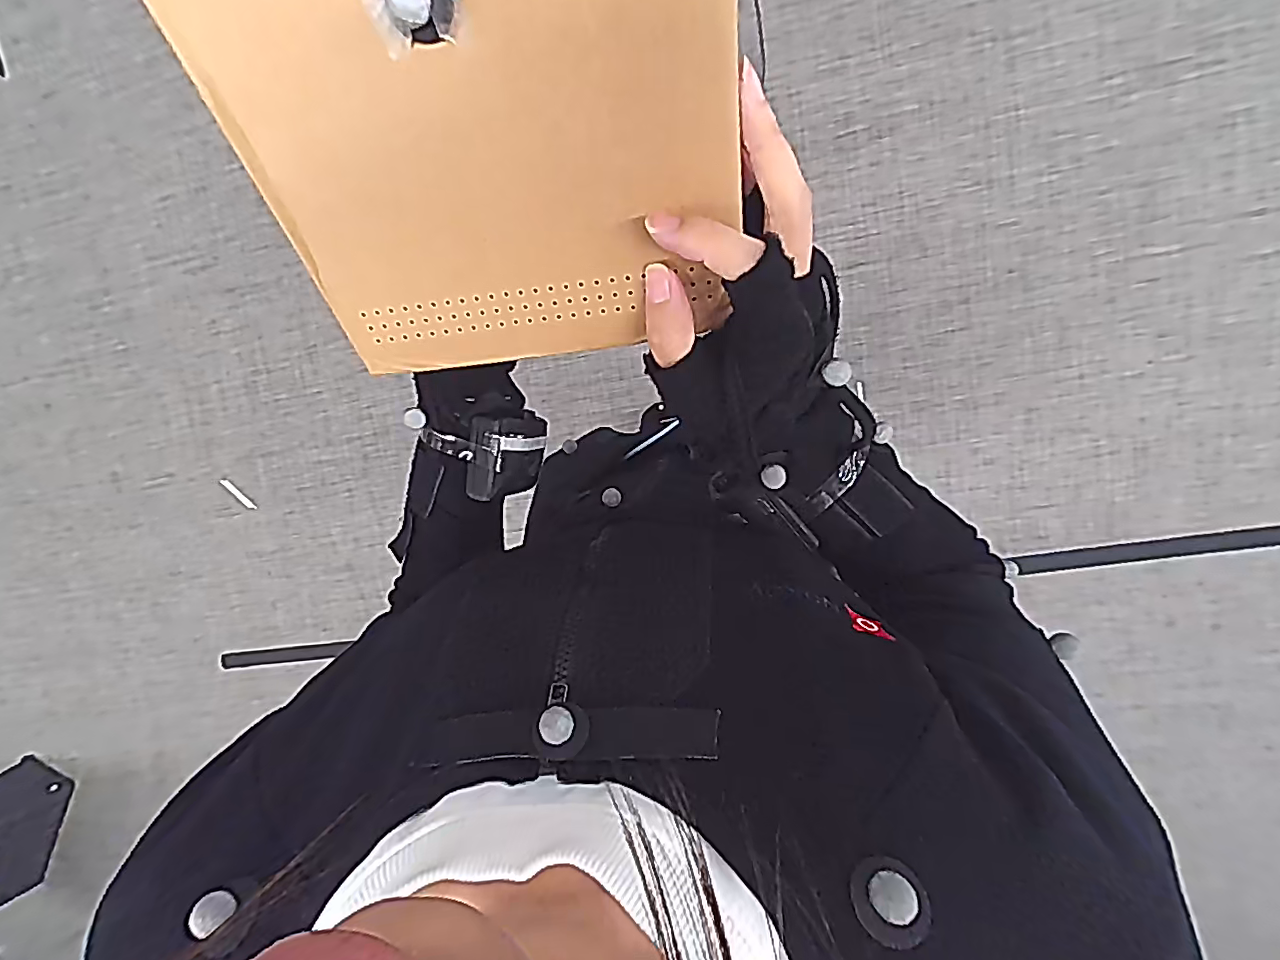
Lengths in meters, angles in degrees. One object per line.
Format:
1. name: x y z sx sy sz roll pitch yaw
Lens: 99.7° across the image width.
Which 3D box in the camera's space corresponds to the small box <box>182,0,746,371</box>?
1. small box: -0.048 -0.165 0.247 0.179 0.168 0.176 -5 136 8
